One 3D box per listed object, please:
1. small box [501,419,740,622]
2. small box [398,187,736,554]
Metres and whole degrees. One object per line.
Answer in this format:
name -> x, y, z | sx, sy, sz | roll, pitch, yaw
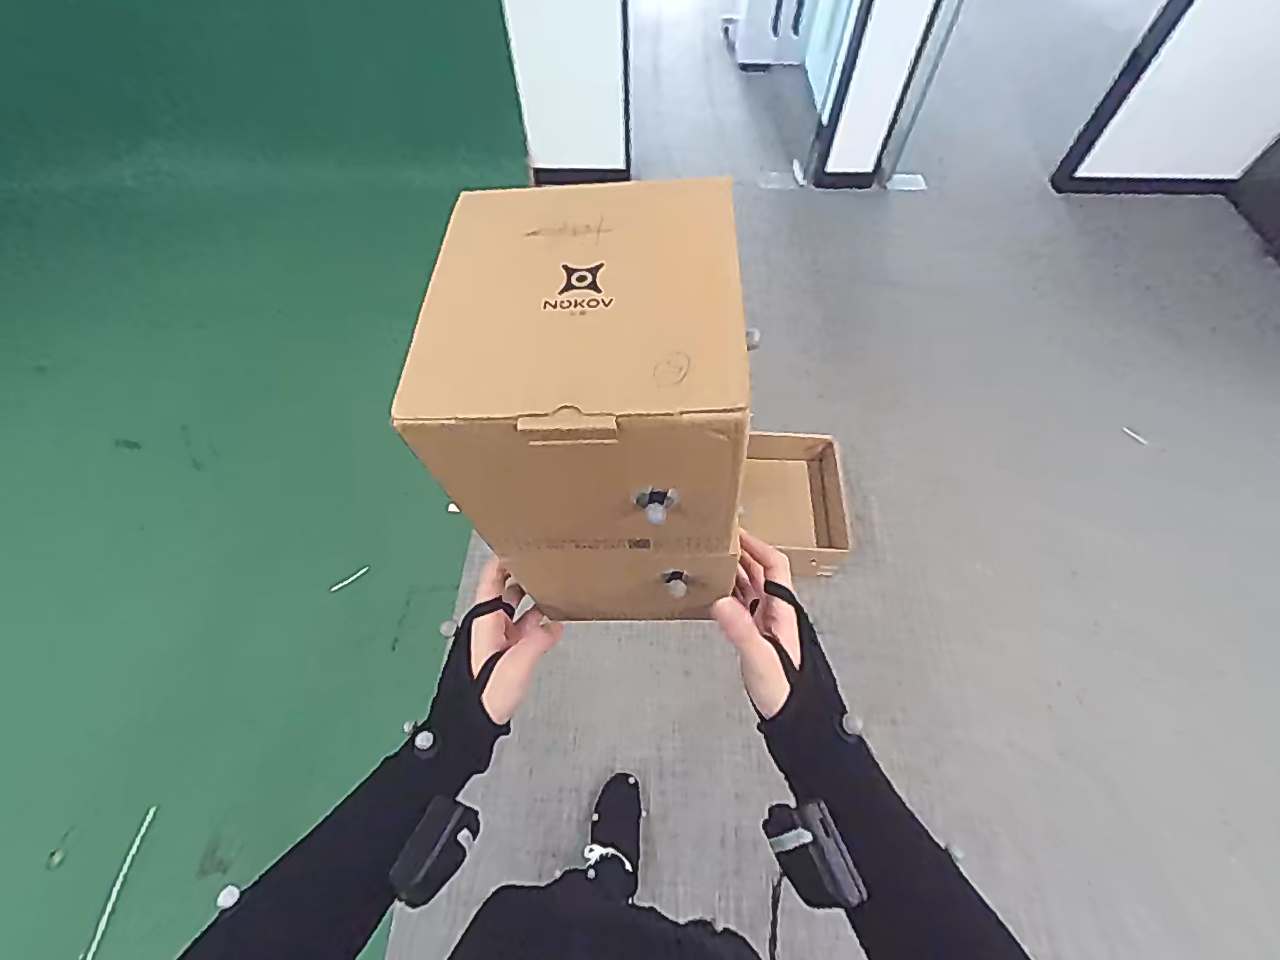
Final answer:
small box -> -0.006, 0.026, 0.496 | 0.179, 0.176, 0.168 | 0, 59, 6
small box -> -0.024, -0.060, 0.358 | 0.168, 0.176, 0.179 | 0, 59, 6
